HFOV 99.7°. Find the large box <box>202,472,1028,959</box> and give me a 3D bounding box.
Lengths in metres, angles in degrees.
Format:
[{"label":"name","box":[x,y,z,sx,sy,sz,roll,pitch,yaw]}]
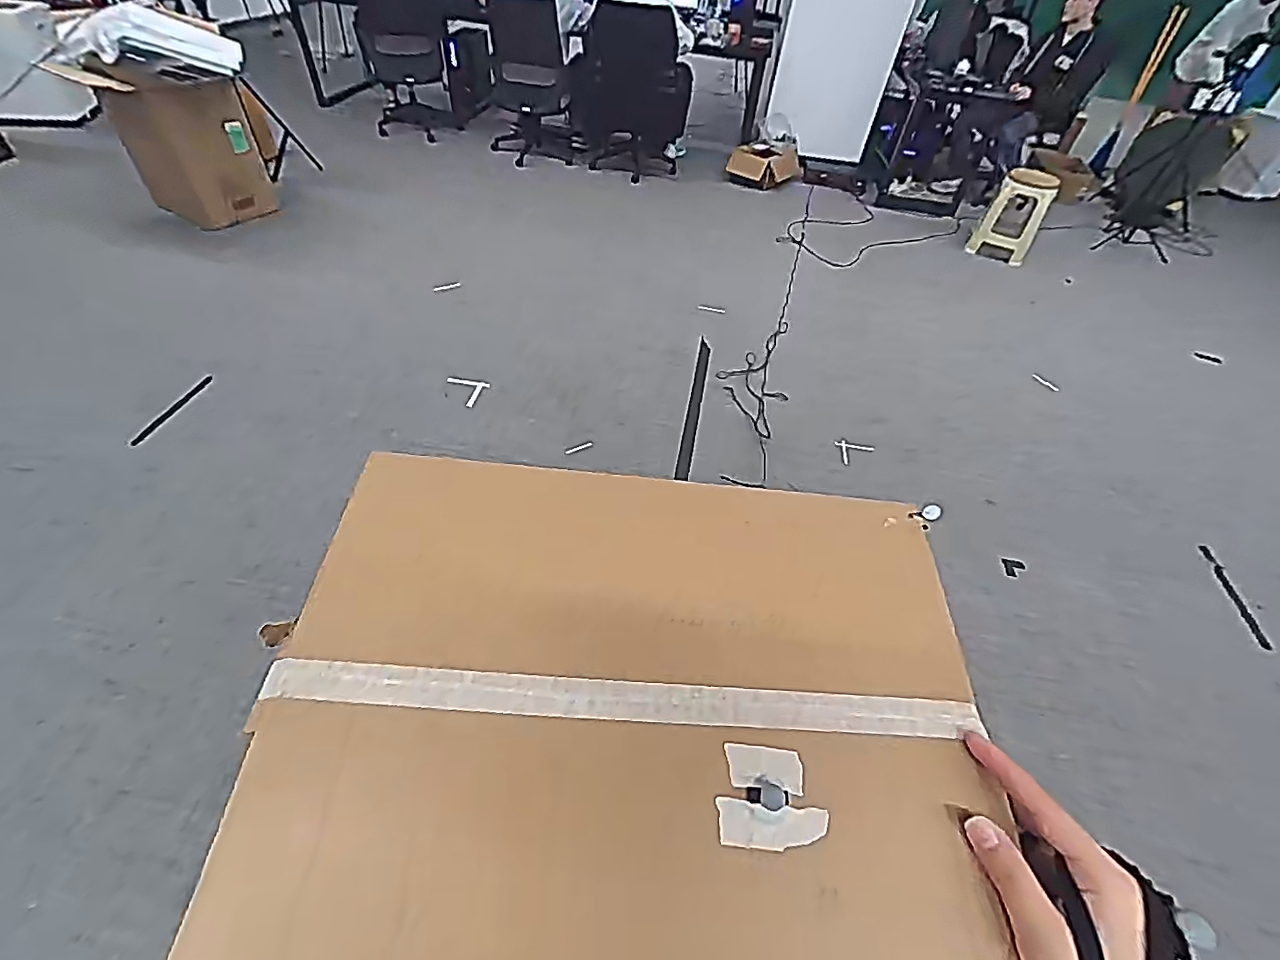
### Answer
[{"label":"large box","box":[-0.015,0.218,0.444,0.408,0.320,0.320,6,56,-5]}]
